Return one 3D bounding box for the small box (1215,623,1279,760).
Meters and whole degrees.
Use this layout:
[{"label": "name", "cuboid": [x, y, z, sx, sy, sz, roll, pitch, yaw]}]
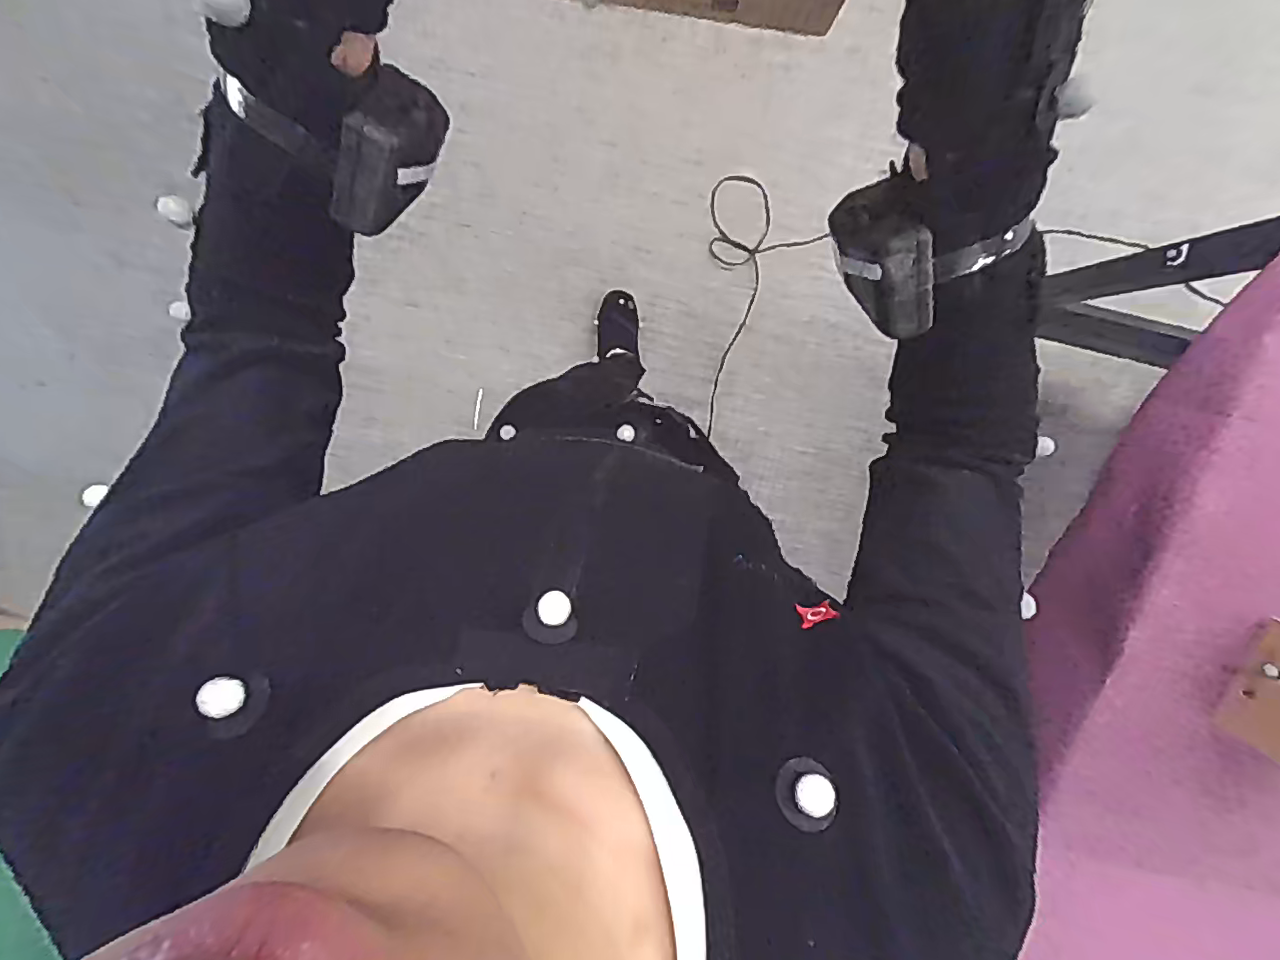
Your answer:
[{"label": "small box", "cuboid": [0.896, 0.296, 0.659, 0.179, 0.176, 0.168, 18, 100, 0]}]
